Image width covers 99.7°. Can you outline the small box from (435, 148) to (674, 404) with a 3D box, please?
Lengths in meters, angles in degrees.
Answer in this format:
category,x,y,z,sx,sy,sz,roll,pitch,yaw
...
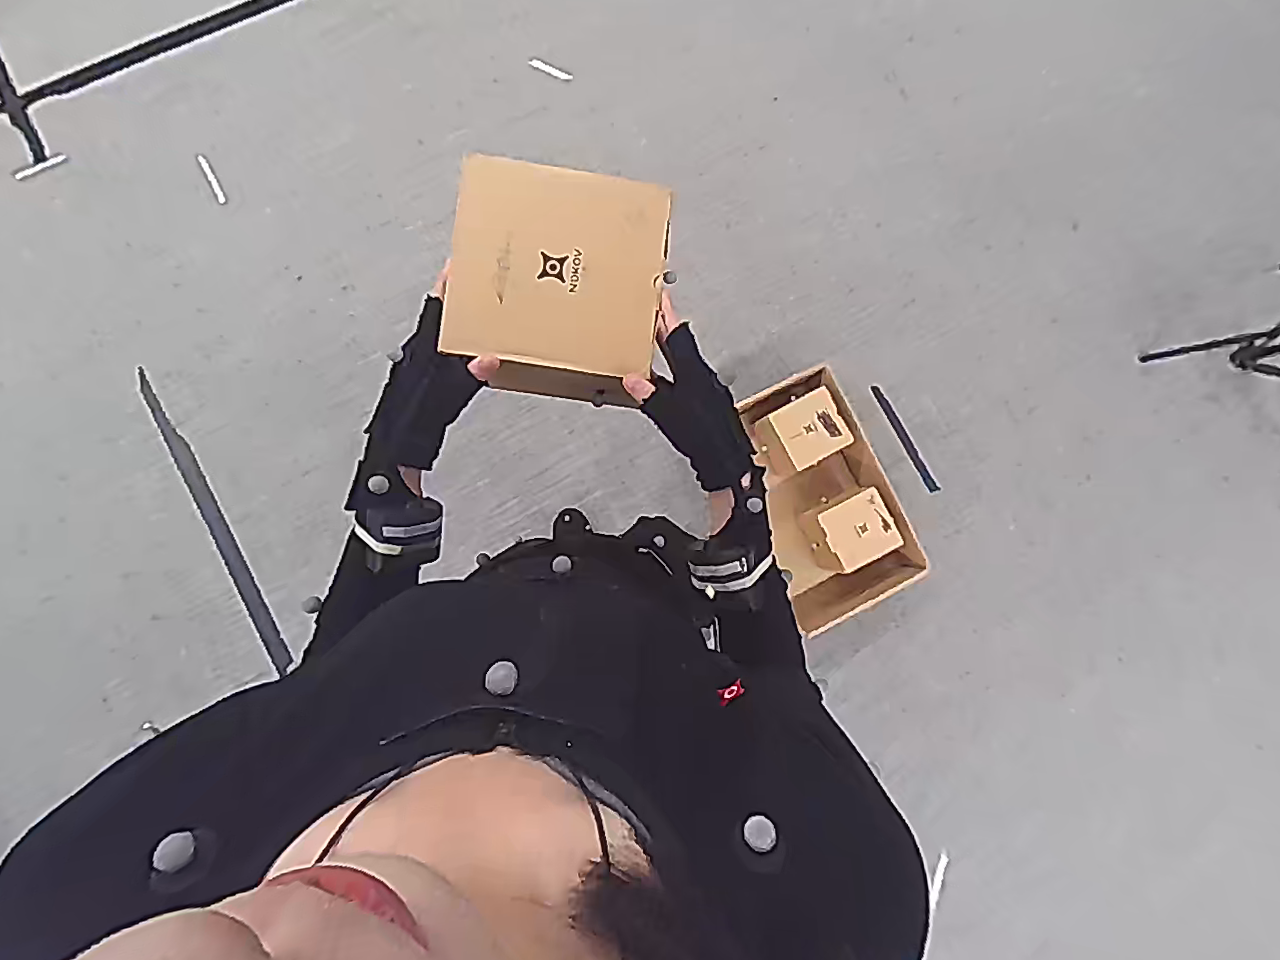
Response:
category,x,y,z,sx,sy,sz,roll,pitch,yaw
small box,-0.071,-0.171,0.511,0.179,0.176,0.168,6,88,-2

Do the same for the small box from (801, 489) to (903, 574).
category,x,y,z,sx,sy,sz,roll,pitch,yaw
small box,0.552,0.137,1.443,0.179,0.176,0.168,-26,87,-4
